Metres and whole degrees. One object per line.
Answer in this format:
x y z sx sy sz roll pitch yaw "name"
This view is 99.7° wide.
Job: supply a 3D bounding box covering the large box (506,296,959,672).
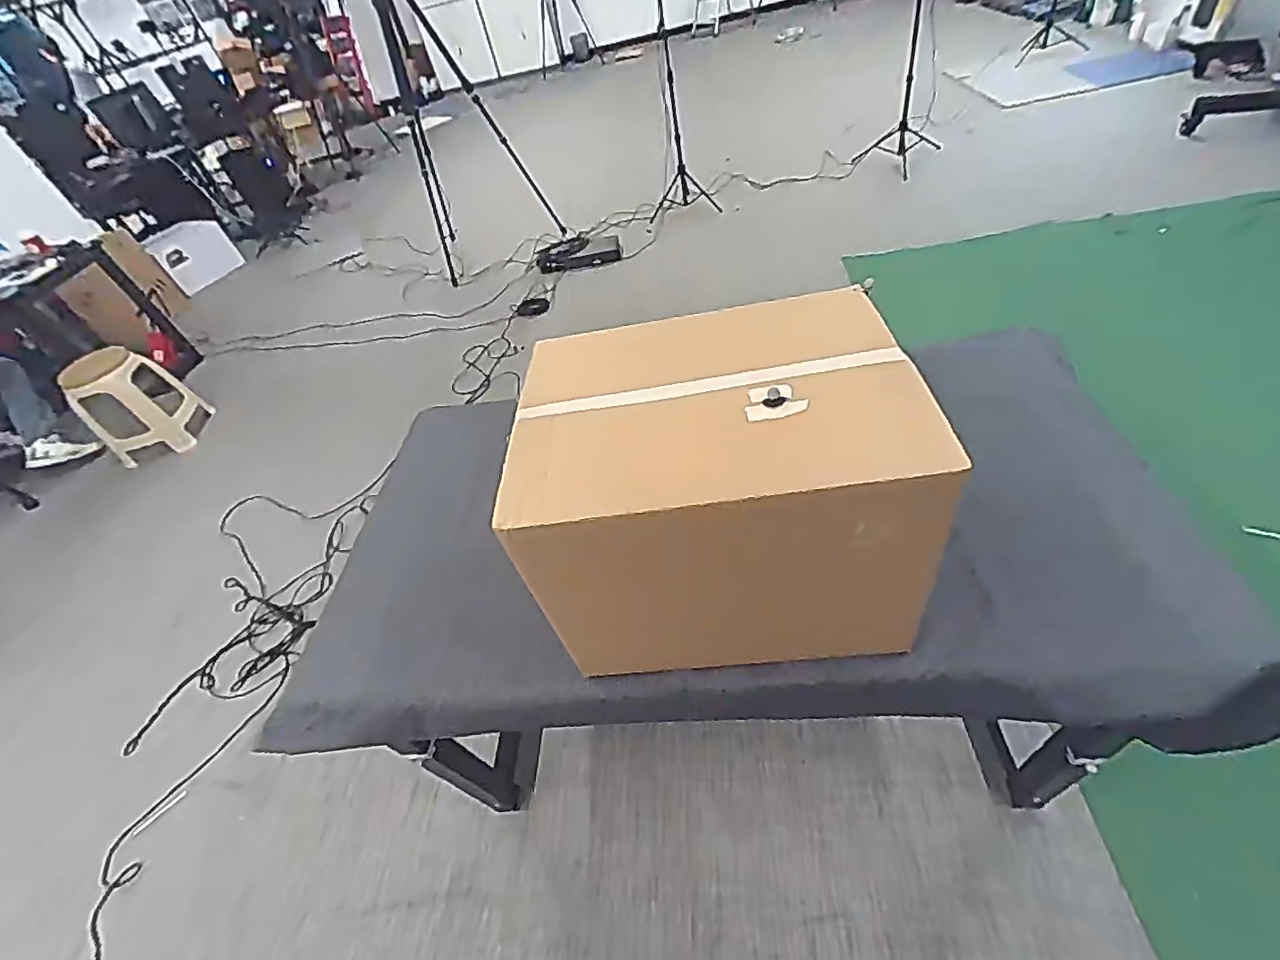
0.094 0.013 0.675 0.408 0.320 0.320 -7 45 7 "large box"
